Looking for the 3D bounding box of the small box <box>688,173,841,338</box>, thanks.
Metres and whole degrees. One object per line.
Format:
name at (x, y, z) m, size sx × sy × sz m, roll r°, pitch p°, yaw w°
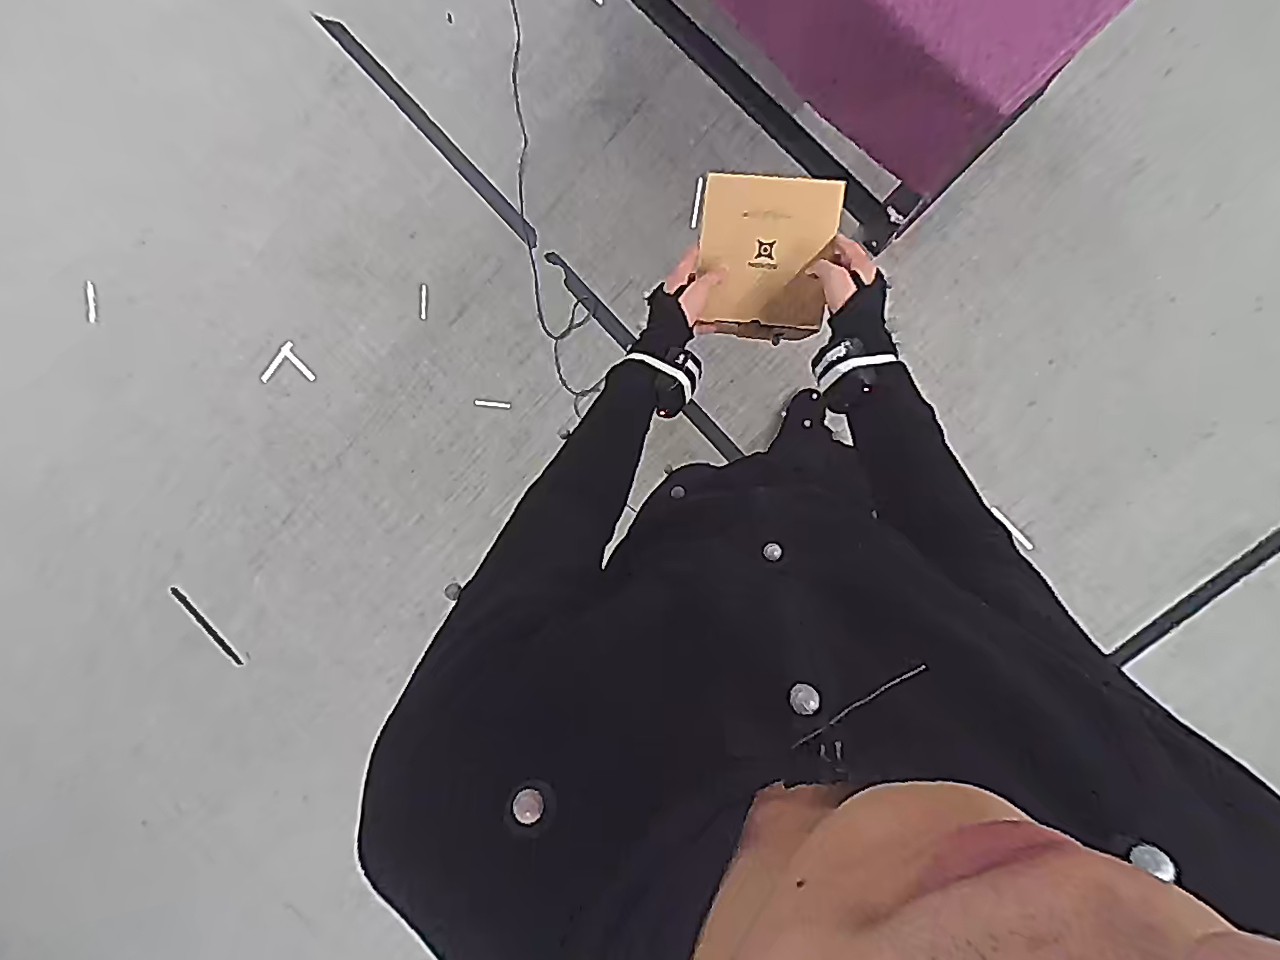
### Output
small box at (0.161, -0.294, 0.743) m, size 0.168 × 0.176 × 0.179 m, roll 7°, pitch 100°, yaw 6°
